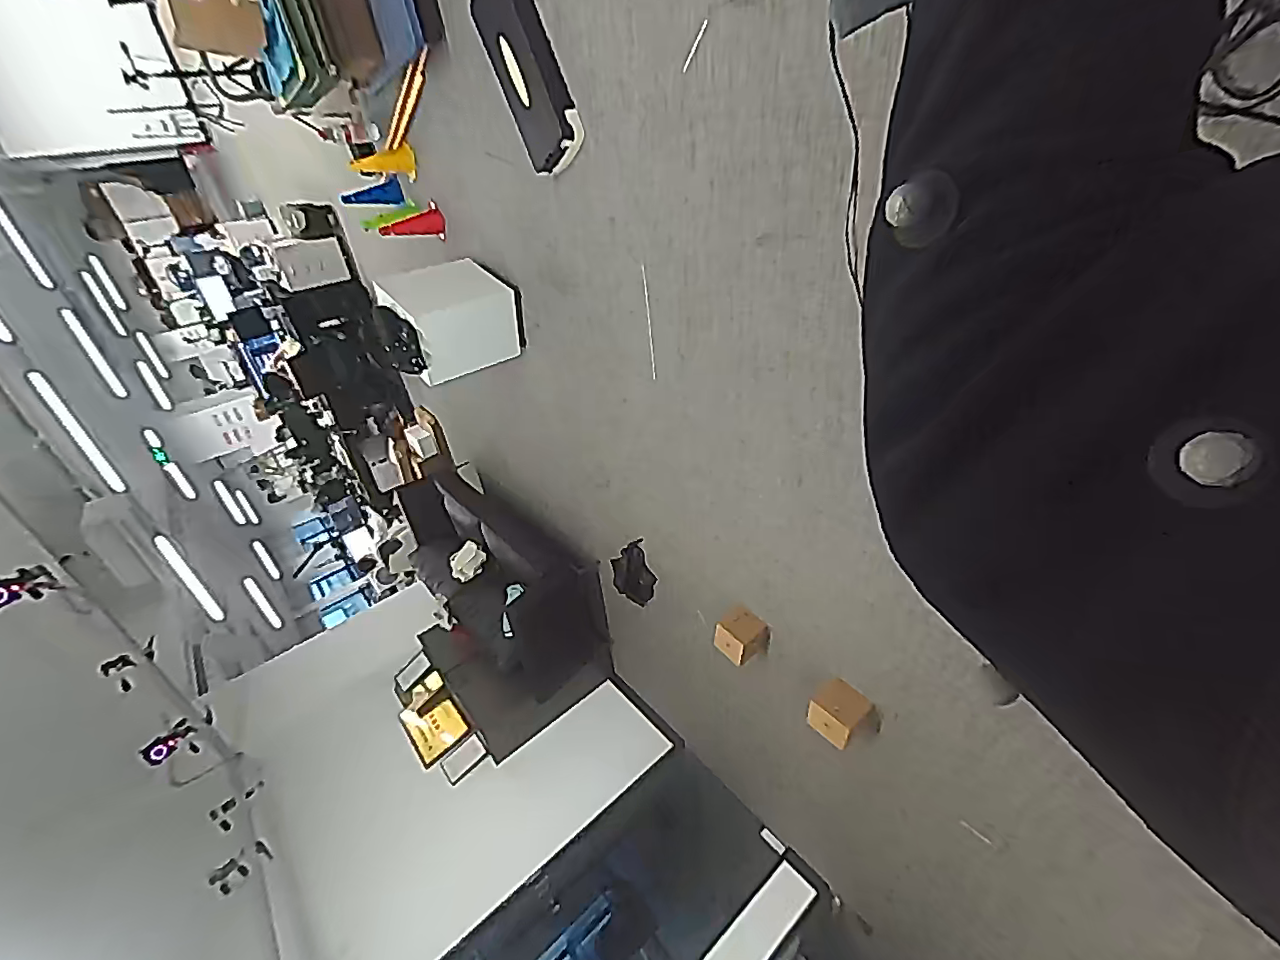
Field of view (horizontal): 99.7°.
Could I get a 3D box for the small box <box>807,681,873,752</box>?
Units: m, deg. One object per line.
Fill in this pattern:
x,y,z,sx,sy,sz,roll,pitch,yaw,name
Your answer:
0.807,0.948,2.189,0.179,0.176,0.168,32,139,40,small box

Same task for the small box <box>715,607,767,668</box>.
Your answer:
0.472,0.731,2.527,0.168,0.176,0.179,37,143,38,small box
